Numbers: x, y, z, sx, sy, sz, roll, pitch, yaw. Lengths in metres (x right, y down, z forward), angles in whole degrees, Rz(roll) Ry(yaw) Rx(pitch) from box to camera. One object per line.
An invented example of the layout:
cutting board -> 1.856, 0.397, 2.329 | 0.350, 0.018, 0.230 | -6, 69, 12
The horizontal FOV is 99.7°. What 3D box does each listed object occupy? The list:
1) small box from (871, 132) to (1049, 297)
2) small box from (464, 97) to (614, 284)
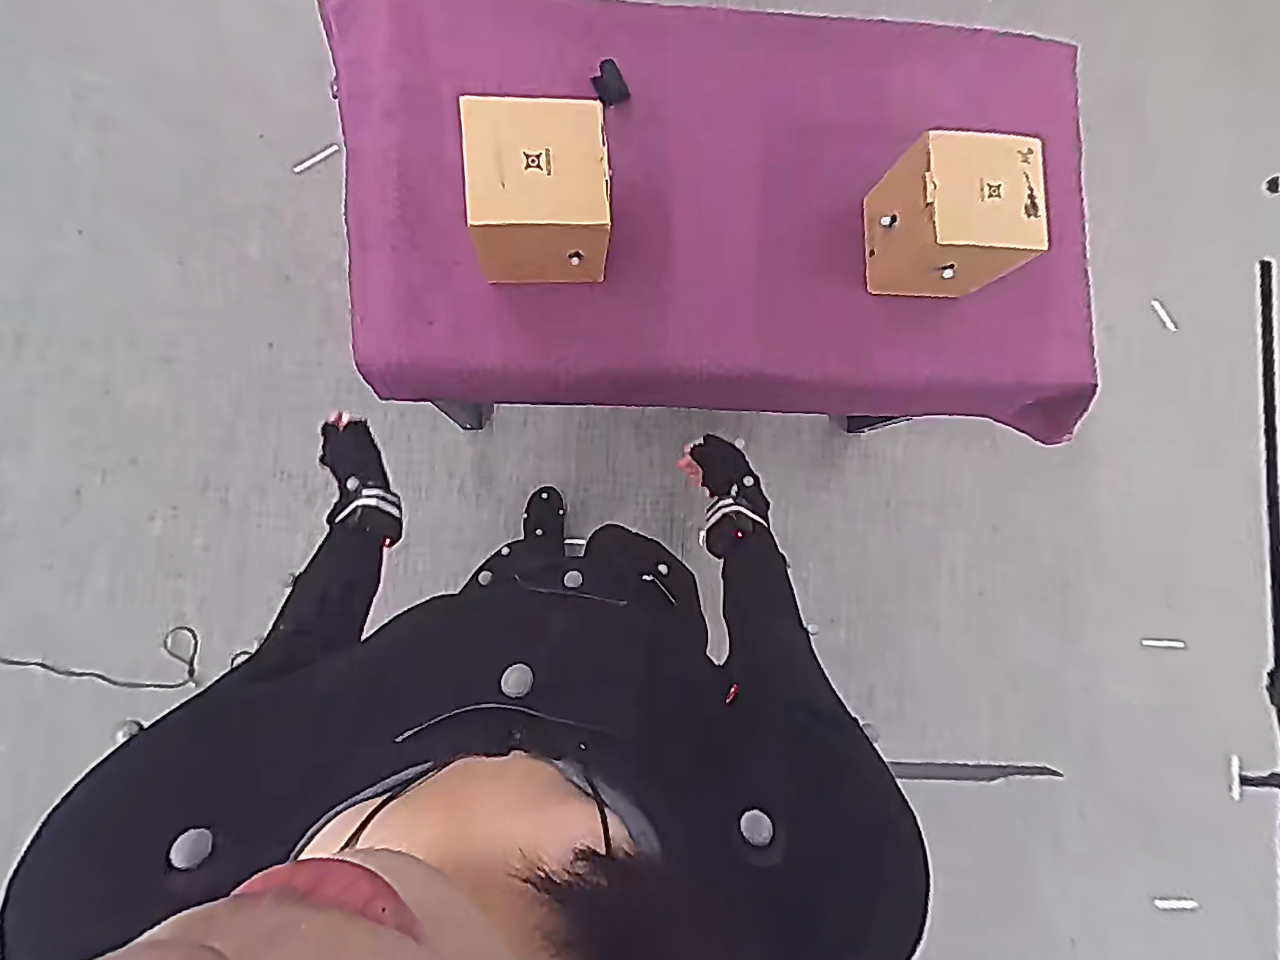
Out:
small box -> 0.470, -0.392, 0.824 | 0.179, 0.176, 0.168 | -1, 86, -7
small box -> -0.135, -0.383, 0.743 | 0.179, 0.176, 0.168 | -4, 85, -7
